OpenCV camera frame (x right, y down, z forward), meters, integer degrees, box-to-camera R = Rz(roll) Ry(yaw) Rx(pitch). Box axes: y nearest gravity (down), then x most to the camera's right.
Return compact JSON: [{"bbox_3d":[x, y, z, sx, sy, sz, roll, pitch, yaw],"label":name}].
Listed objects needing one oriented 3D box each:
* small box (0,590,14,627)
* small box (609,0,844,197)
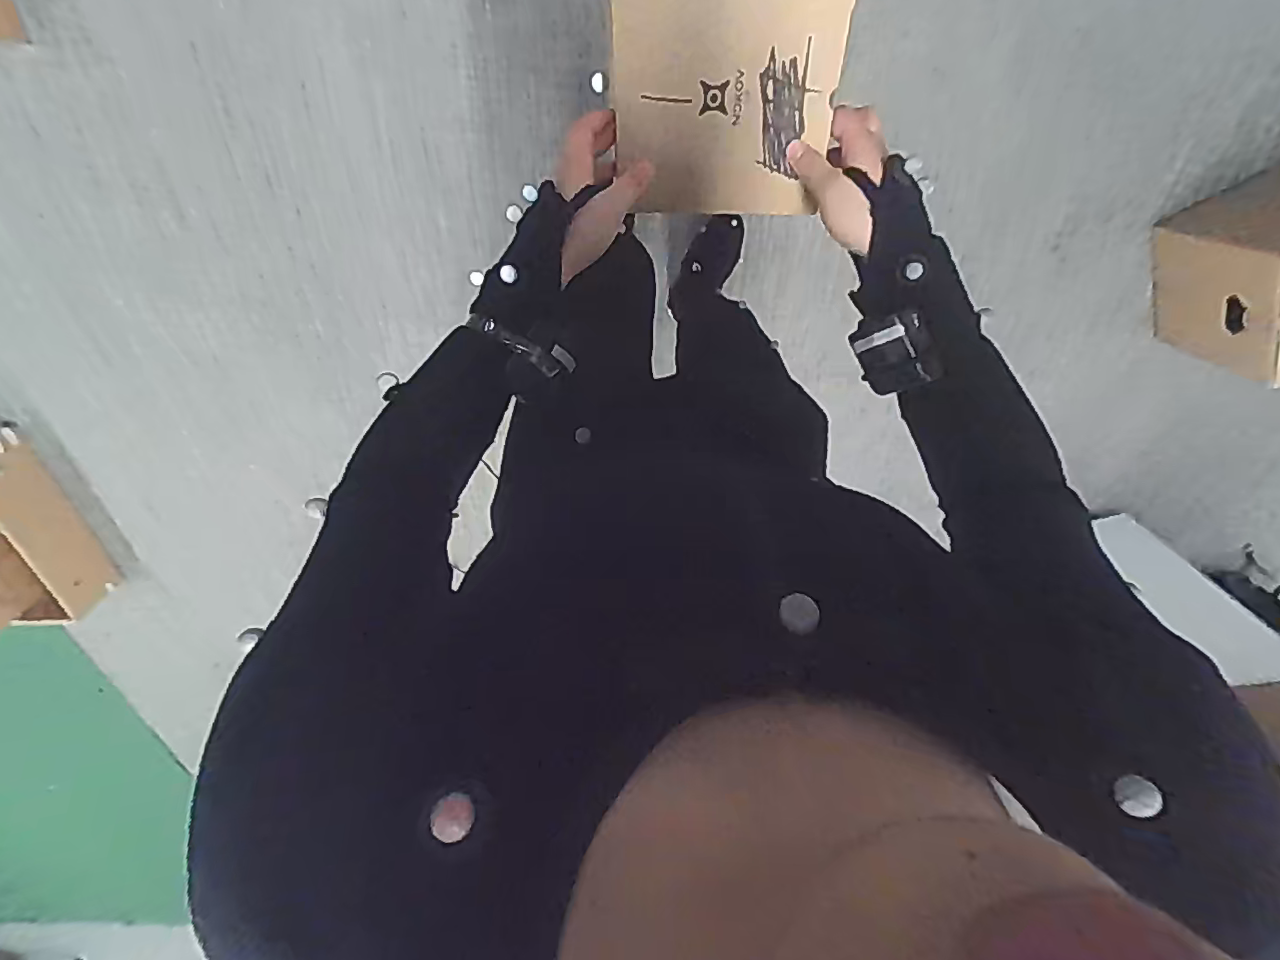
[{"bbox_3d":[-1.889,0.364,1.468,0.179,0.176,0.168,-3,125,-1],"label":"small box"},{"bbox_3d":[0.064,-0.372,0.500,0.179,0.176,0.168,-3,129,-2],"label":"small box"}]
